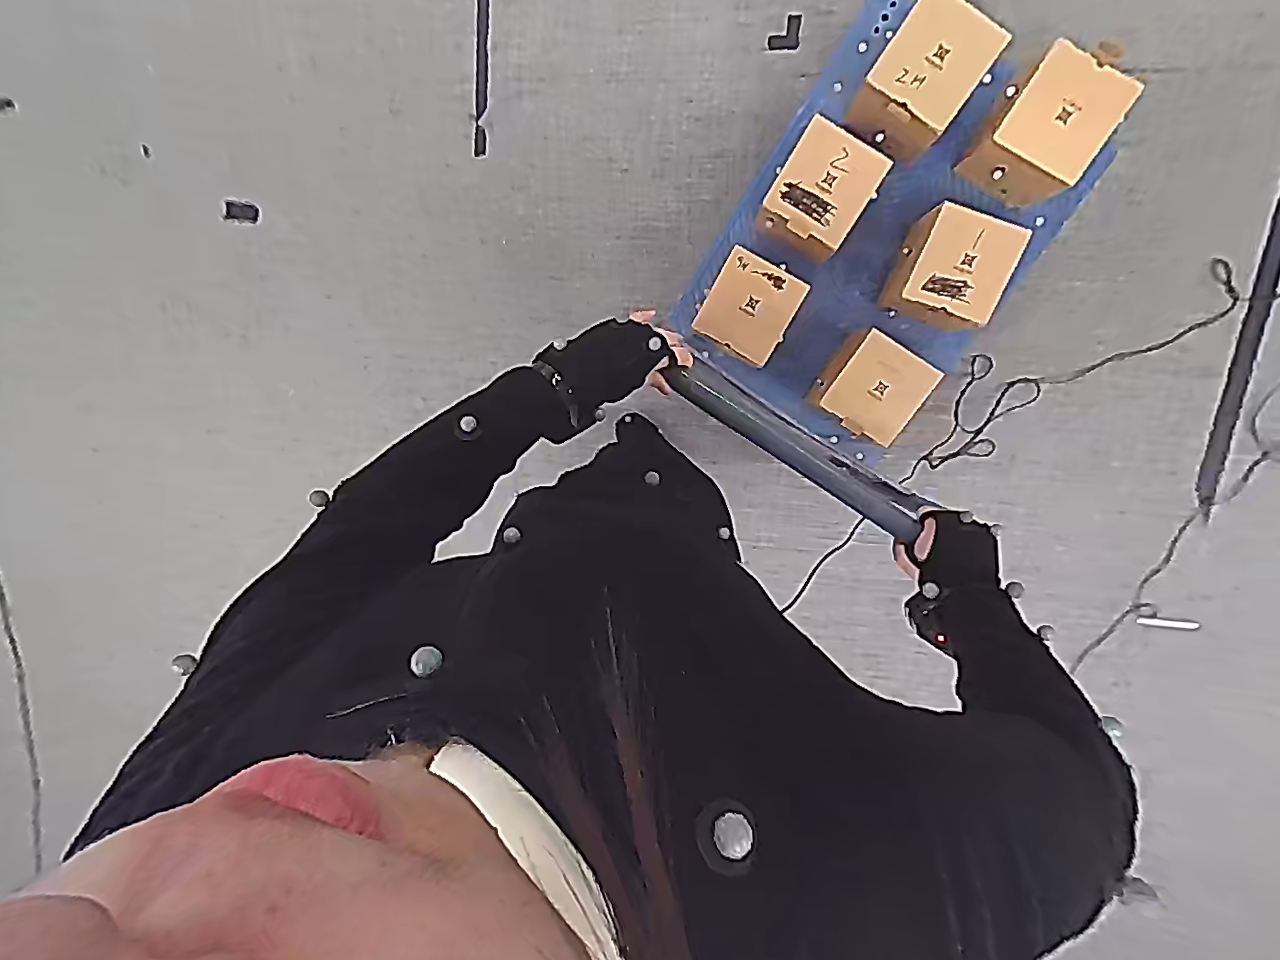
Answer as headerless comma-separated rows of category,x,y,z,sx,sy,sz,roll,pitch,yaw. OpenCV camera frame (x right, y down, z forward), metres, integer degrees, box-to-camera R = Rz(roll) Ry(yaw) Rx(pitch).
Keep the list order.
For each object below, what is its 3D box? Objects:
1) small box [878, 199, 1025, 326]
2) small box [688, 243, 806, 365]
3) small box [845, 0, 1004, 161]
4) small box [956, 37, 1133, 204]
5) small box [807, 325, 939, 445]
small box,0.595,-0.415,1.065,0.168,0.176,0.179,21,103,2
small box,0.217,-0.356,1.124,0.168,0.176,0.179,30,105,-1
small box,0.510,-0.741,1.003,0.168,0.176,0.179,35,105,-1
small box,0.725,-0.646,1.000,0.168,0.176,0.179,30,104,0
small box,0.470,-0.199,1.129,0.168,0.176,0.179,33,103,-1
